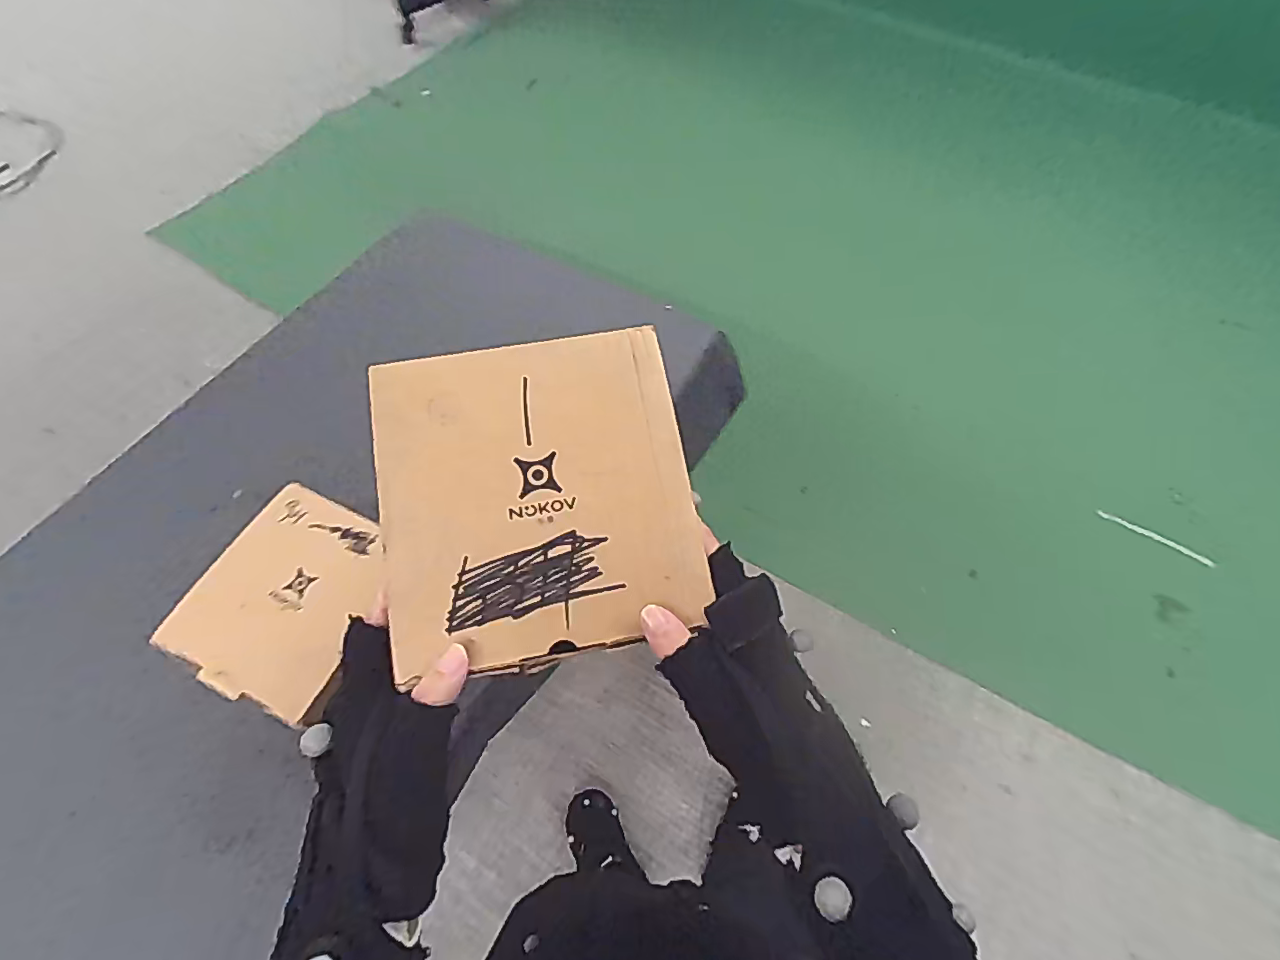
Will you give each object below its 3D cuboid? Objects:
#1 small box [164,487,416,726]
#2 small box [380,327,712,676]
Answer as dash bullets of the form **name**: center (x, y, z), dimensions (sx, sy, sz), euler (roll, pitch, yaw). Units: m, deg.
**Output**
- **small box**: center (-0.319, 0.141, 0.573), dimensions (0.168, 0.176, 0.179), euler (19, 62, 11)
- **small box**: center (-0.058, 0.023, 0.374), dimensions (0.168, 0.176, 0.179), euler (-9, 76, -5)
